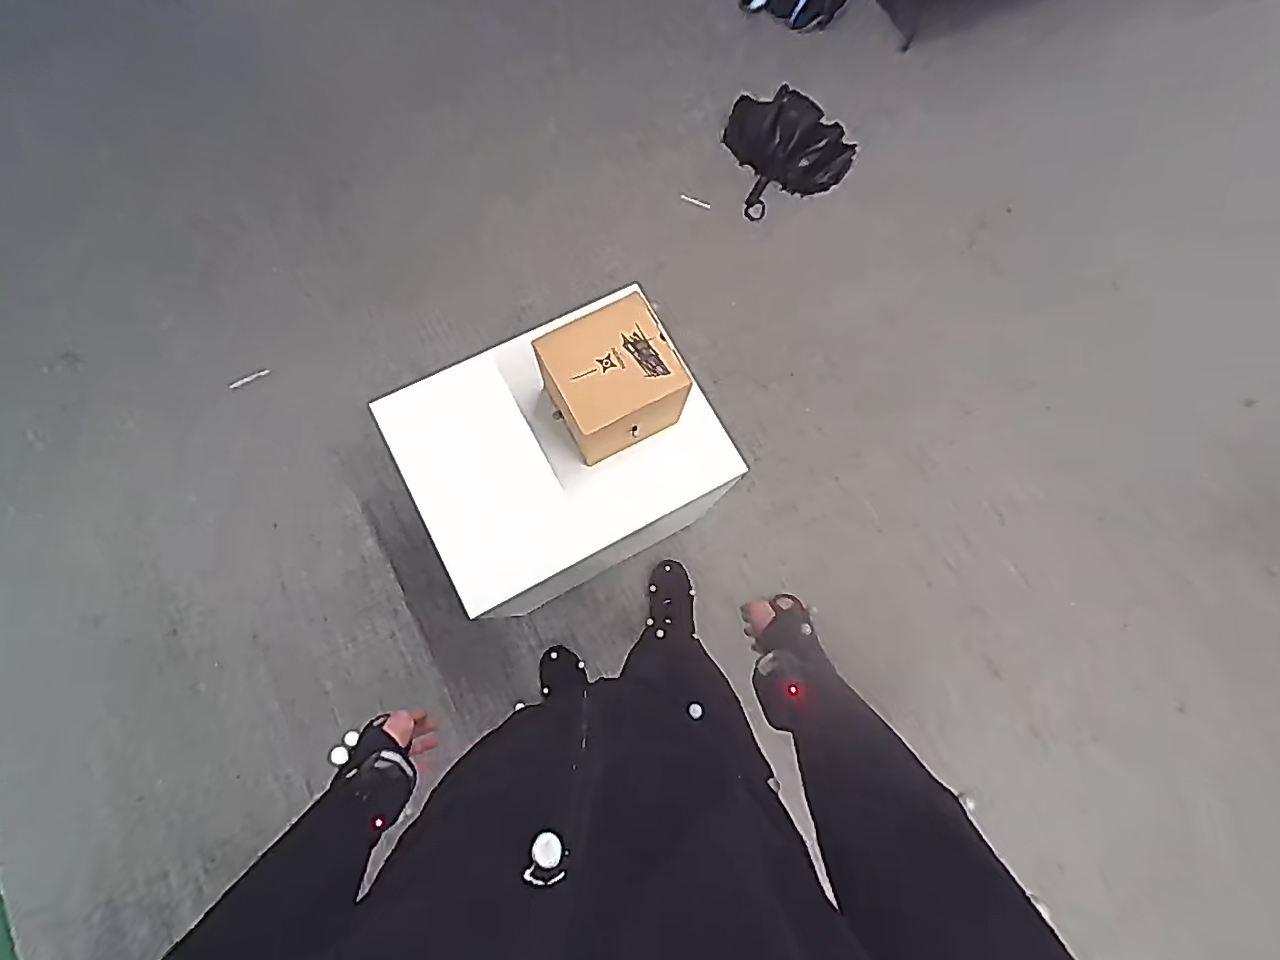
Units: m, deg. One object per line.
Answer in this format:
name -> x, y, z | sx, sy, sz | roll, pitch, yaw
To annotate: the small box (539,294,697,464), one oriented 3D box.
small box -> -0.038, -0.146, 0.833 | 0.179, 0.176, 0.168 | -26, 79, -10
